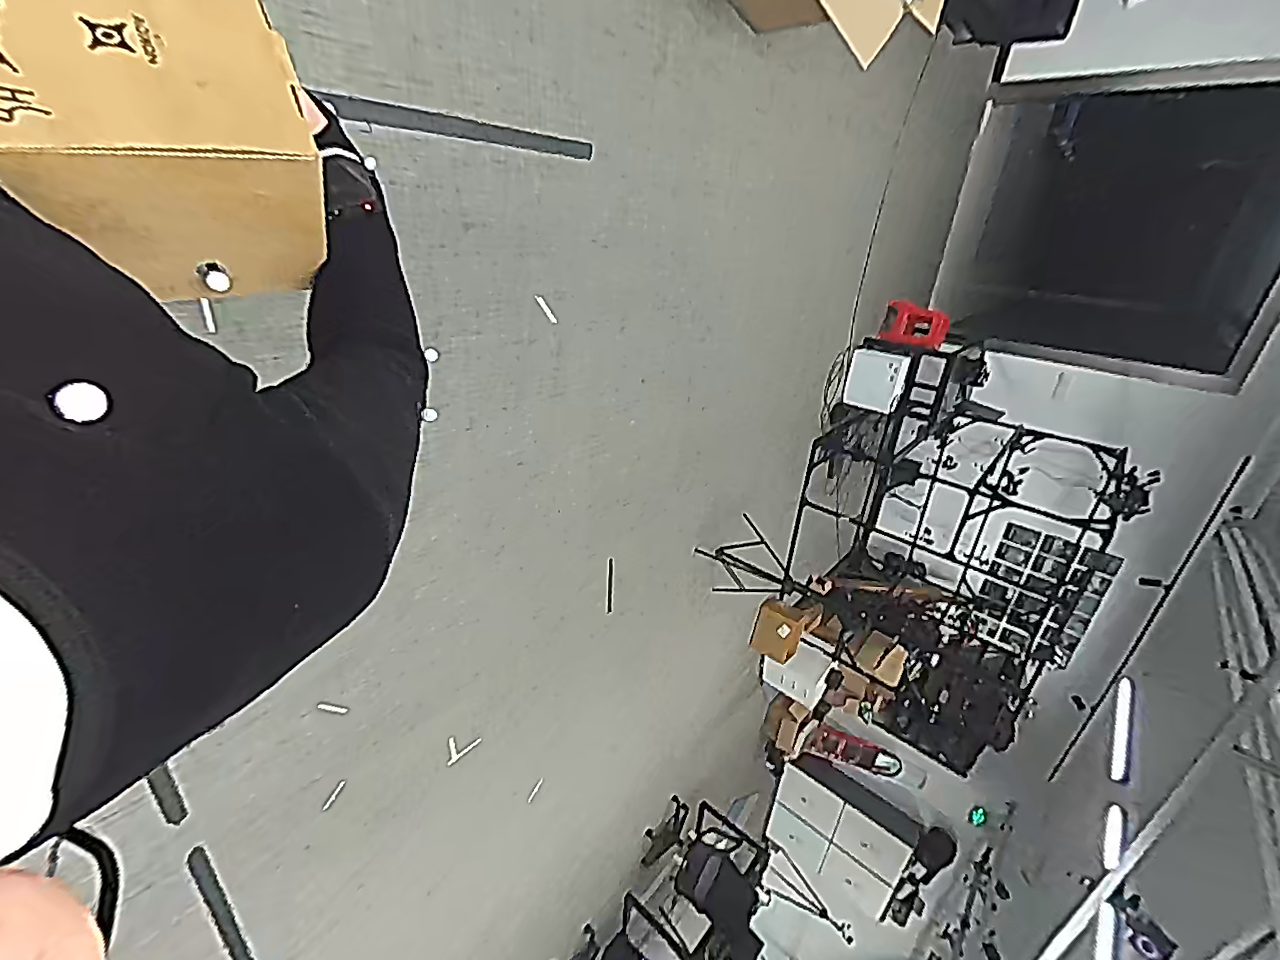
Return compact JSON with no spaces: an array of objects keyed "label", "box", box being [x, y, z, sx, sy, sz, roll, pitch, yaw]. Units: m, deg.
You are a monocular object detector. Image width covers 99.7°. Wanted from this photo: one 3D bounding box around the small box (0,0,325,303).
[{"label":"small box","box":[-0.372,-0.262,0.430,0.179,0.176,0.168,-20,84,-32]}]
